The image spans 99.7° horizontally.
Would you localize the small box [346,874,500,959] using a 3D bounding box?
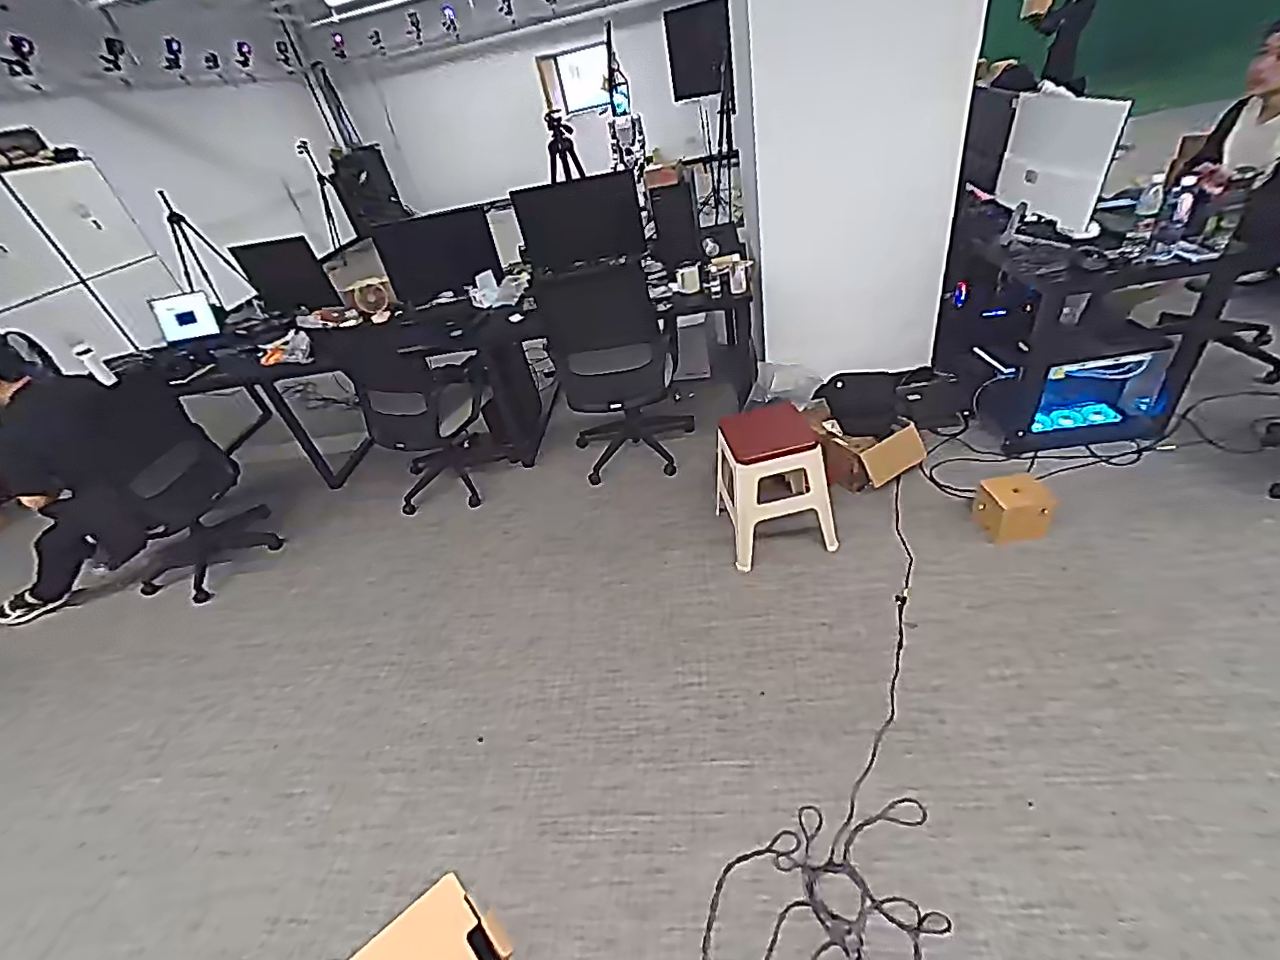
[{"bbox_3d":[-0.229,0.566,0.551,0.179,0.176,0.168,-26,53,-39],"label":"small box"}]
